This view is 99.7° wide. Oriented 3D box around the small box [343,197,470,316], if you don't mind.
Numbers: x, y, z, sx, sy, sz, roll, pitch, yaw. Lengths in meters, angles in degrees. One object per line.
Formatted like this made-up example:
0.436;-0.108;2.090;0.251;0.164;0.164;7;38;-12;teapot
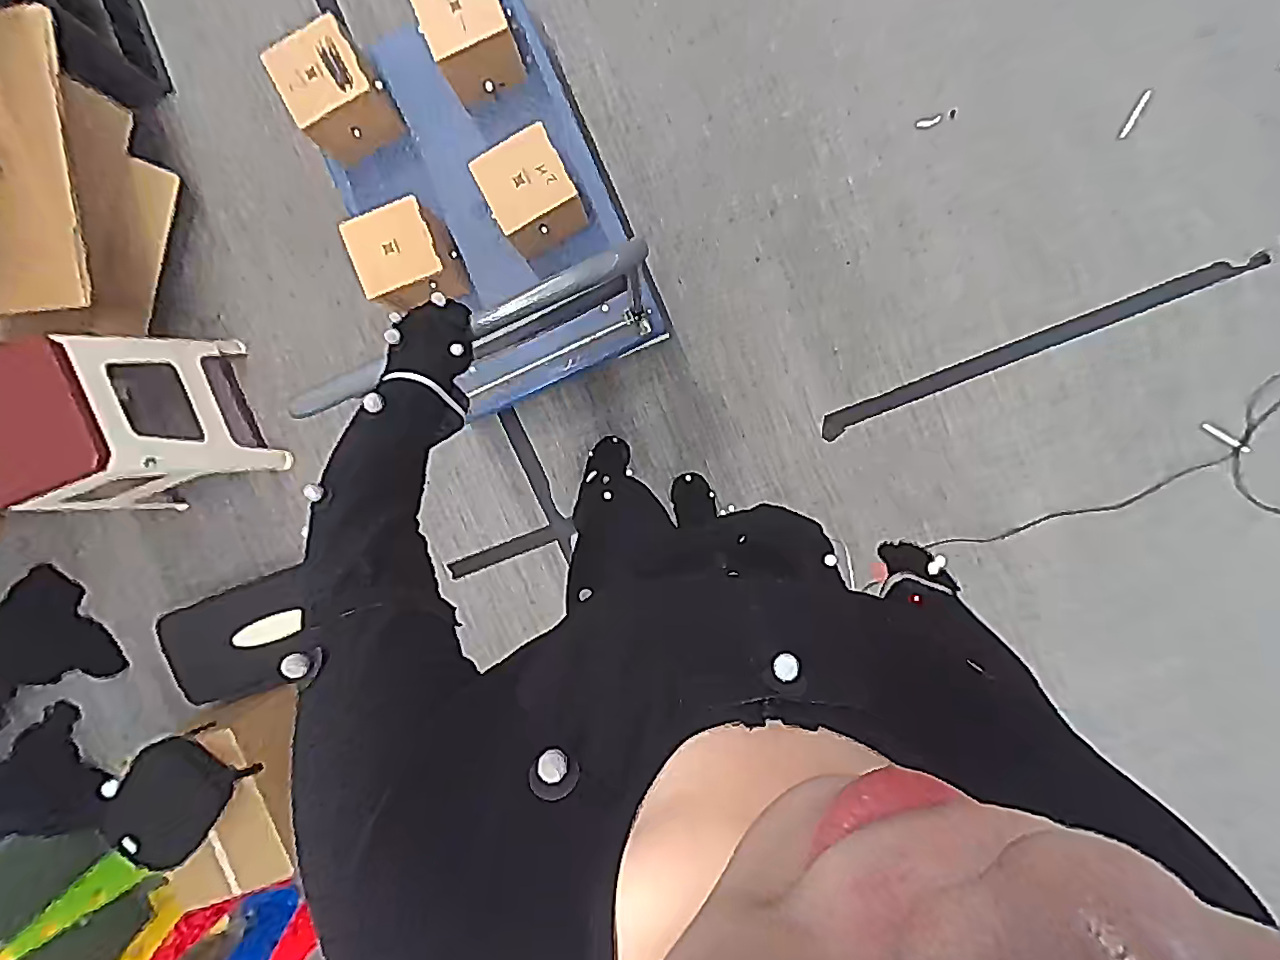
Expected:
-0.509;-0.485;1.203;0.179;0.176;0.168;-21;94;3;small box

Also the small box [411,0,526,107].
-0.364;-0.954;1.151;0.168;0.176;0.179;-22;95;4;small box

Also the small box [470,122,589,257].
-0.231;-0.617;1.178;0.179;0.176;0.168;-28;94;5;small box
